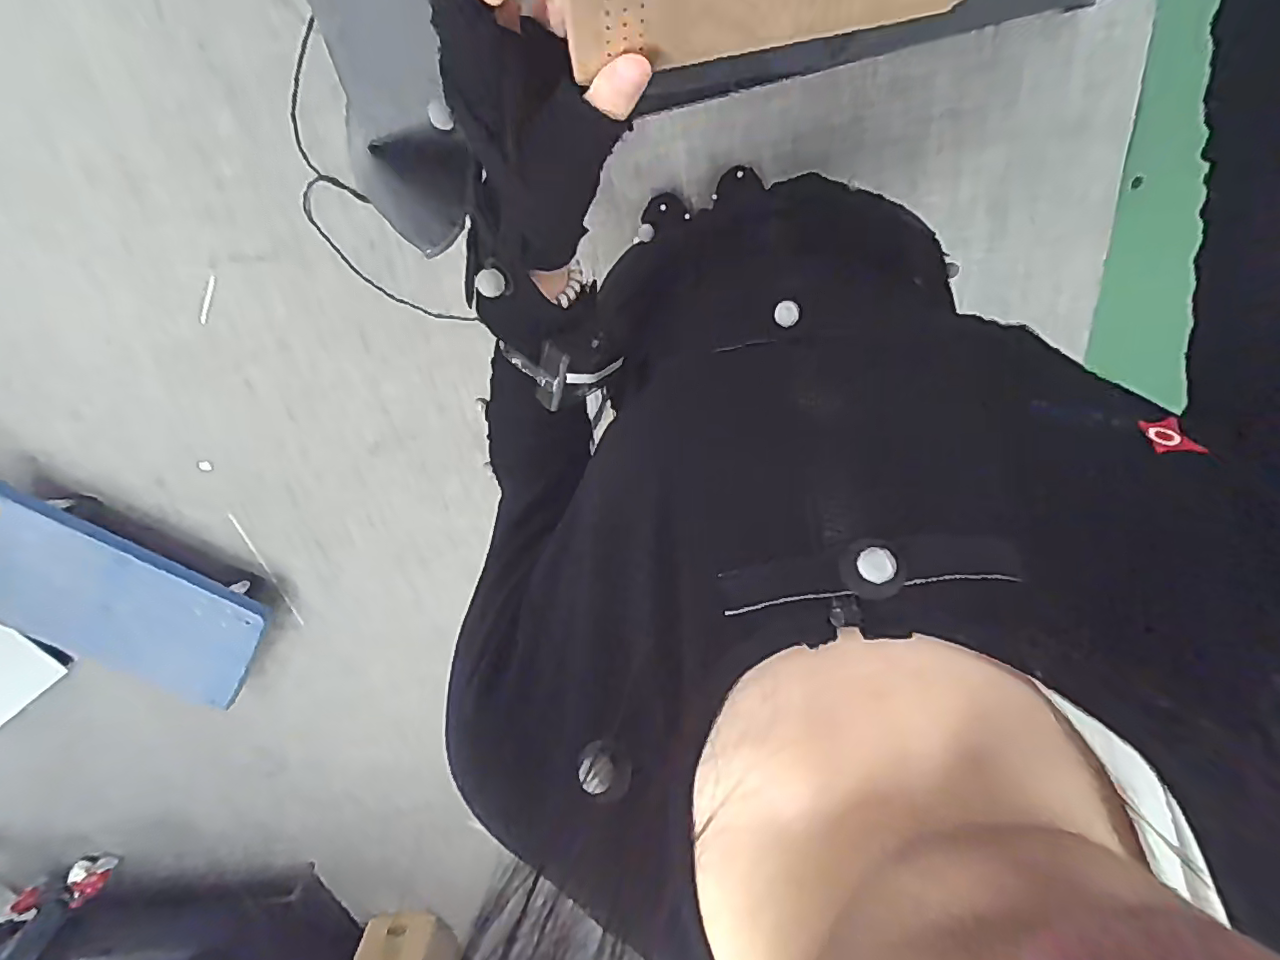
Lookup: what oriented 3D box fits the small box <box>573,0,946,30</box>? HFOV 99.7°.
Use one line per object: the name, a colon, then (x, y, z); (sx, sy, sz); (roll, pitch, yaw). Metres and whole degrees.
small box: (0.039, -0.266, 0.140); (0.176, 0.179, 0.168); (-12, 89, -2)
